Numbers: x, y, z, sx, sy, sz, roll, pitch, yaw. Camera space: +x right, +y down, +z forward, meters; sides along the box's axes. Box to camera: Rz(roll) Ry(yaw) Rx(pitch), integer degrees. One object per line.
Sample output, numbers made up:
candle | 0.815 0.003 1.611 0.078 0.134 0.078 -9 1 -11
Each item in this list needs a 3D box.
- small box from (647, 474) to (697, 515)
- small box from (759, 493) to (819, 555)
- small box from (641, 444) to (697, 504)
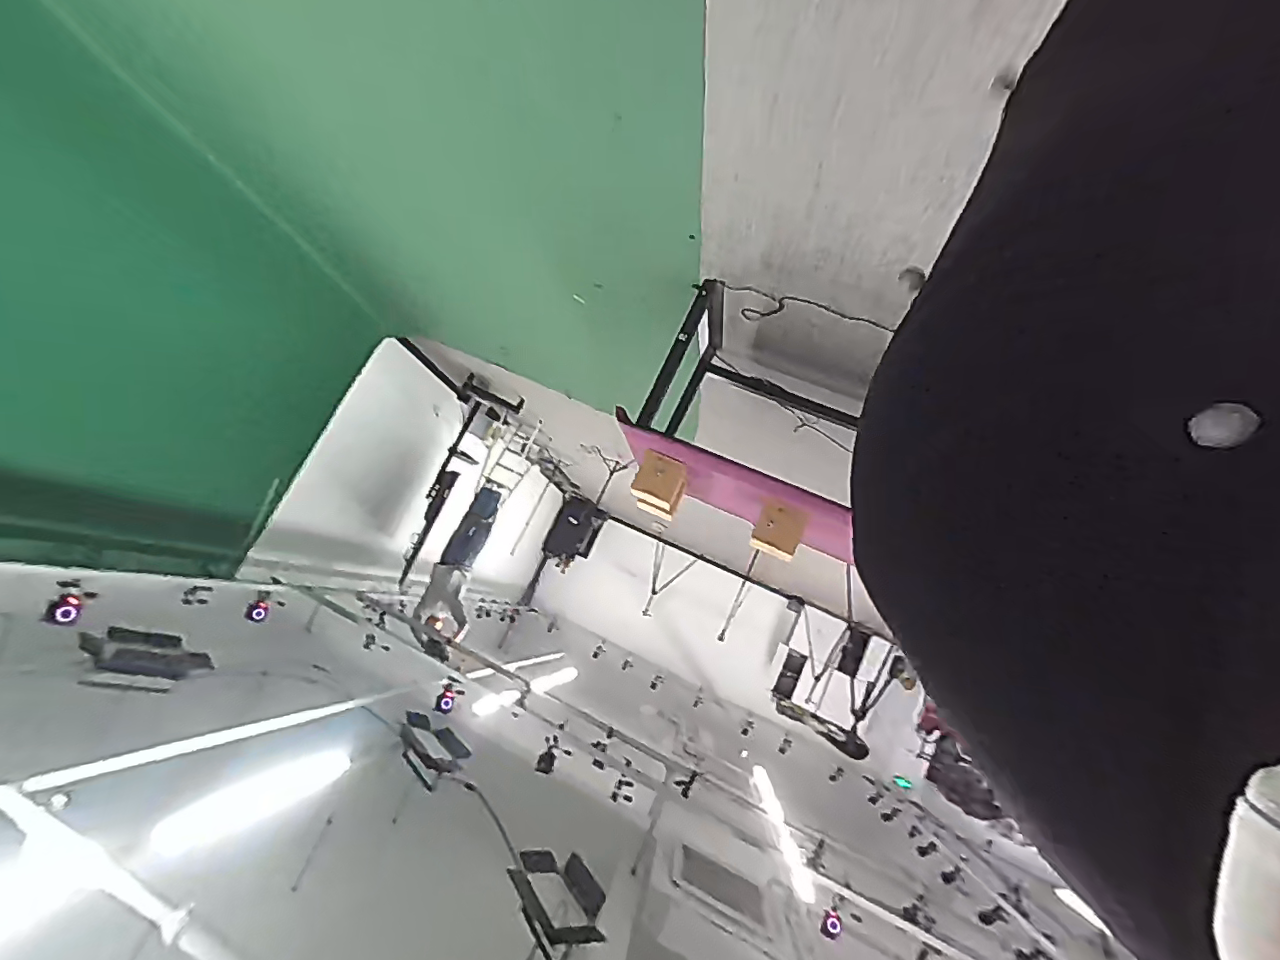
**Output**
small box | 0.143 0.036 2.388 0.168 0.176 0.179 23 169 8
small box | 0.555 0.162 2.014 0.168 0.176 0.179 24 172 16
small box | 0.115 -0.026 2.120 0.168 0.176 0.179 24 171 8
